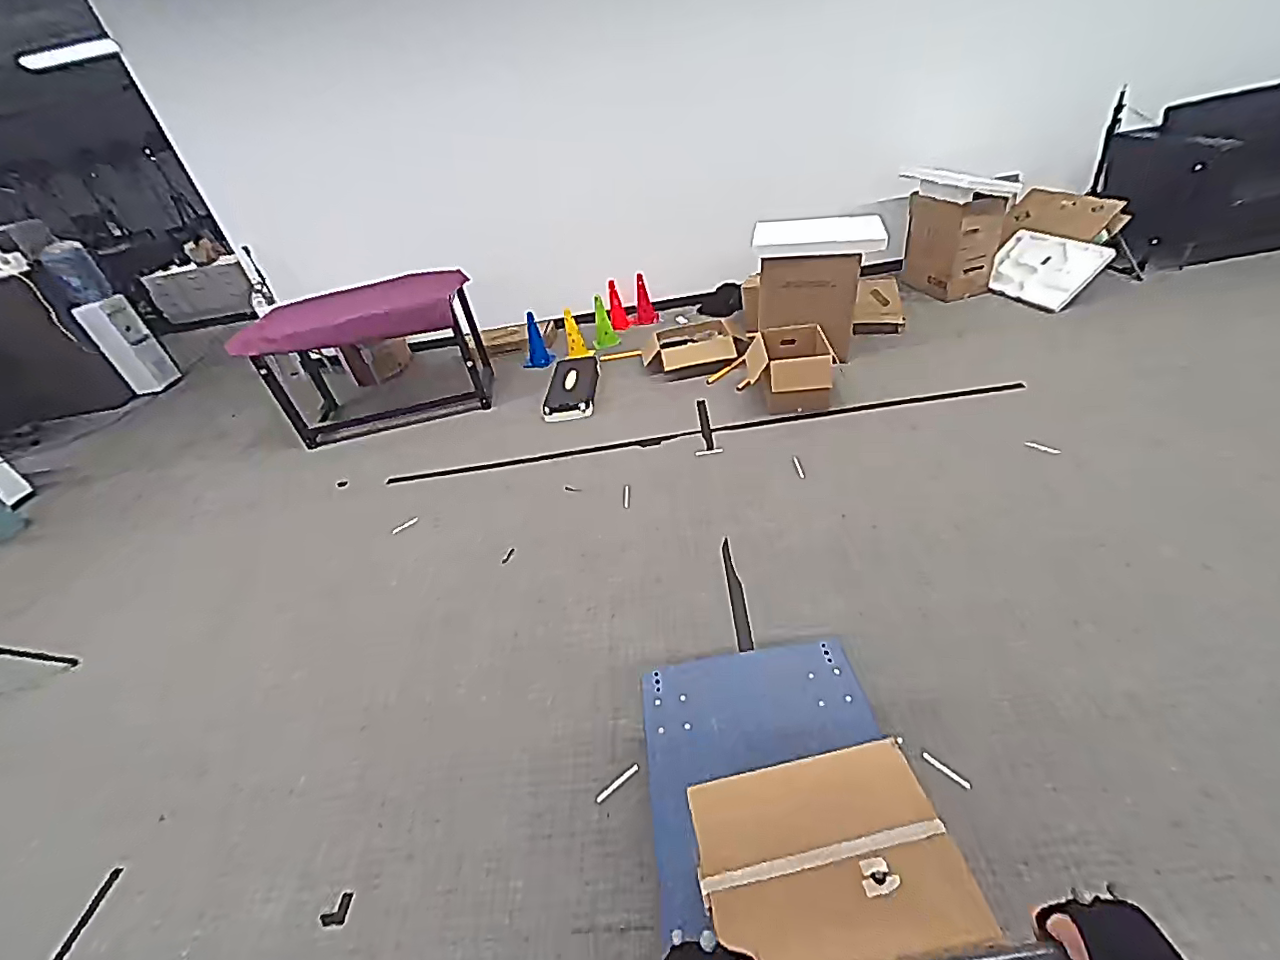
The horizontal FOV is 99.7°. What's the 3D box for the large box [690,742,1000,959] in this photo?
[{"bbox_3d":[0.329,0.745,0.978,0.408,0.320,0.320,-12,37,-2],"label":"large box"}]
